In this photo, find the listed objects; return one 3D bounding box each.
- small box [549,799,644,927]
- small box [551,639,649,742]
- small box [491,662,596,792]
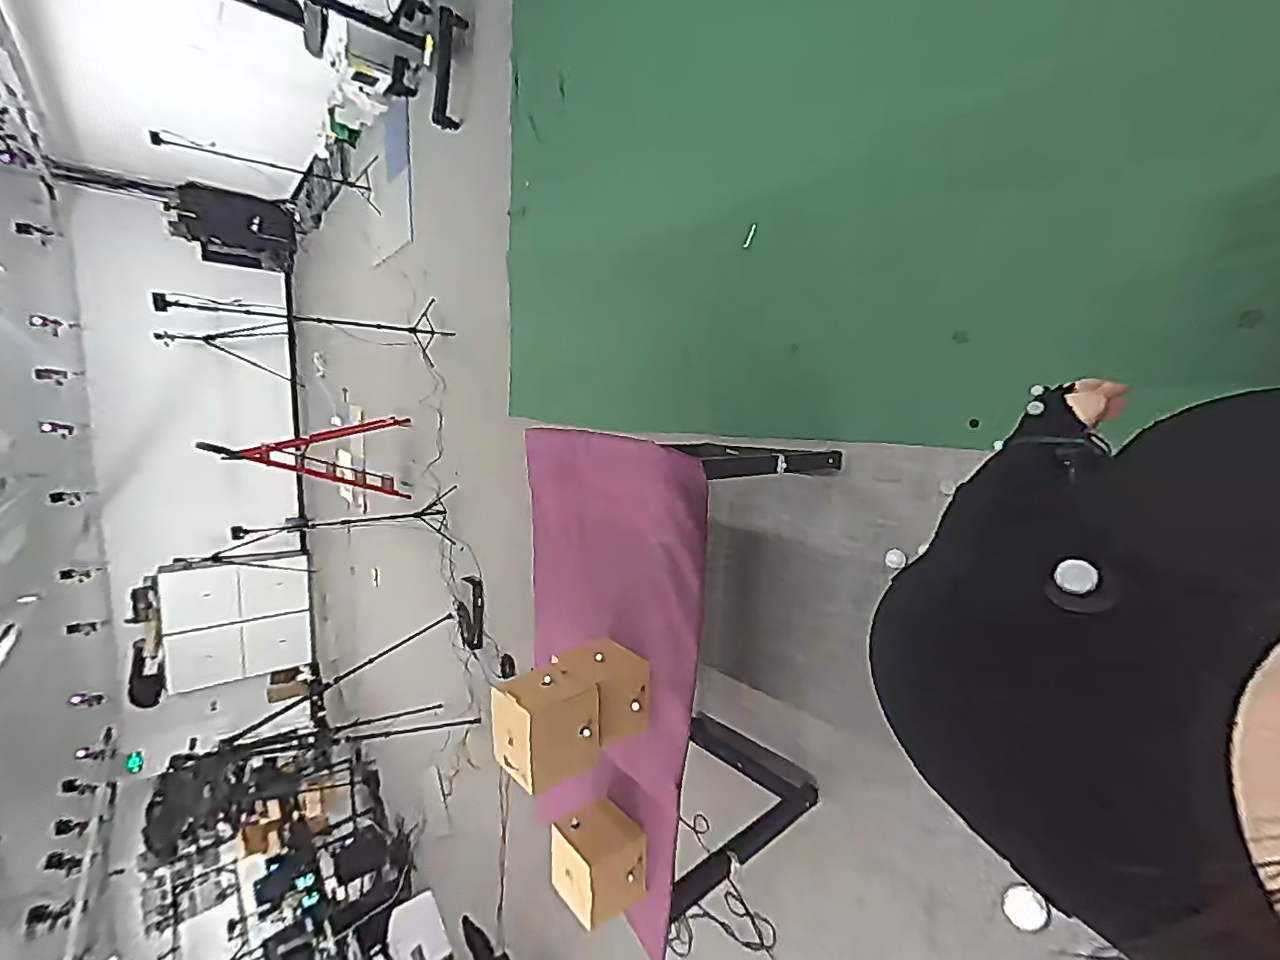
[{"bbox_3d":[-0.109,0.928,1.336,0.179,0.176,0.168,8,100,50],"label":"small box"},{"bbox_3d":[-0.100,0.496,1.290,0.179,0.176,0.168,12,103,48],"label":"small box"},{"bbox_3d":[-0.206,0.516,1.165,0.168,0.176,0.179,7,99,49],"label":"small box"}]
